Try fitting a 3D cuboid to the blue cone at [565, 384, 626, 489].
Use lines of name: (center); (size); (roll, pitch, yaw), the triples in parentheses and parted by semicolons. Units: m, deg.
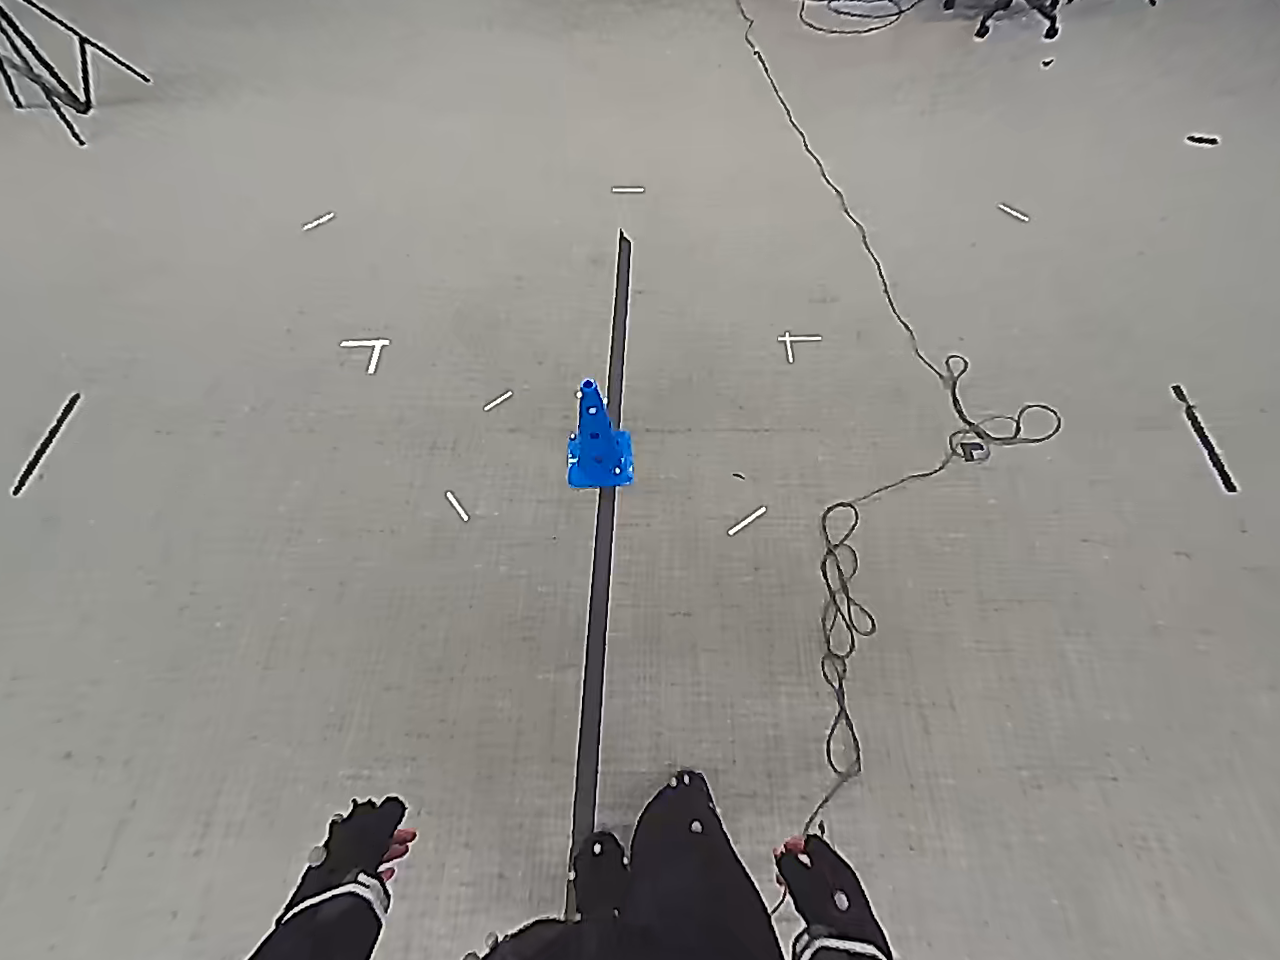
blue cone: (-0.144, -0.142, 1.543); (0.192, 0.380, 0.193); (-3, 59, 1)
